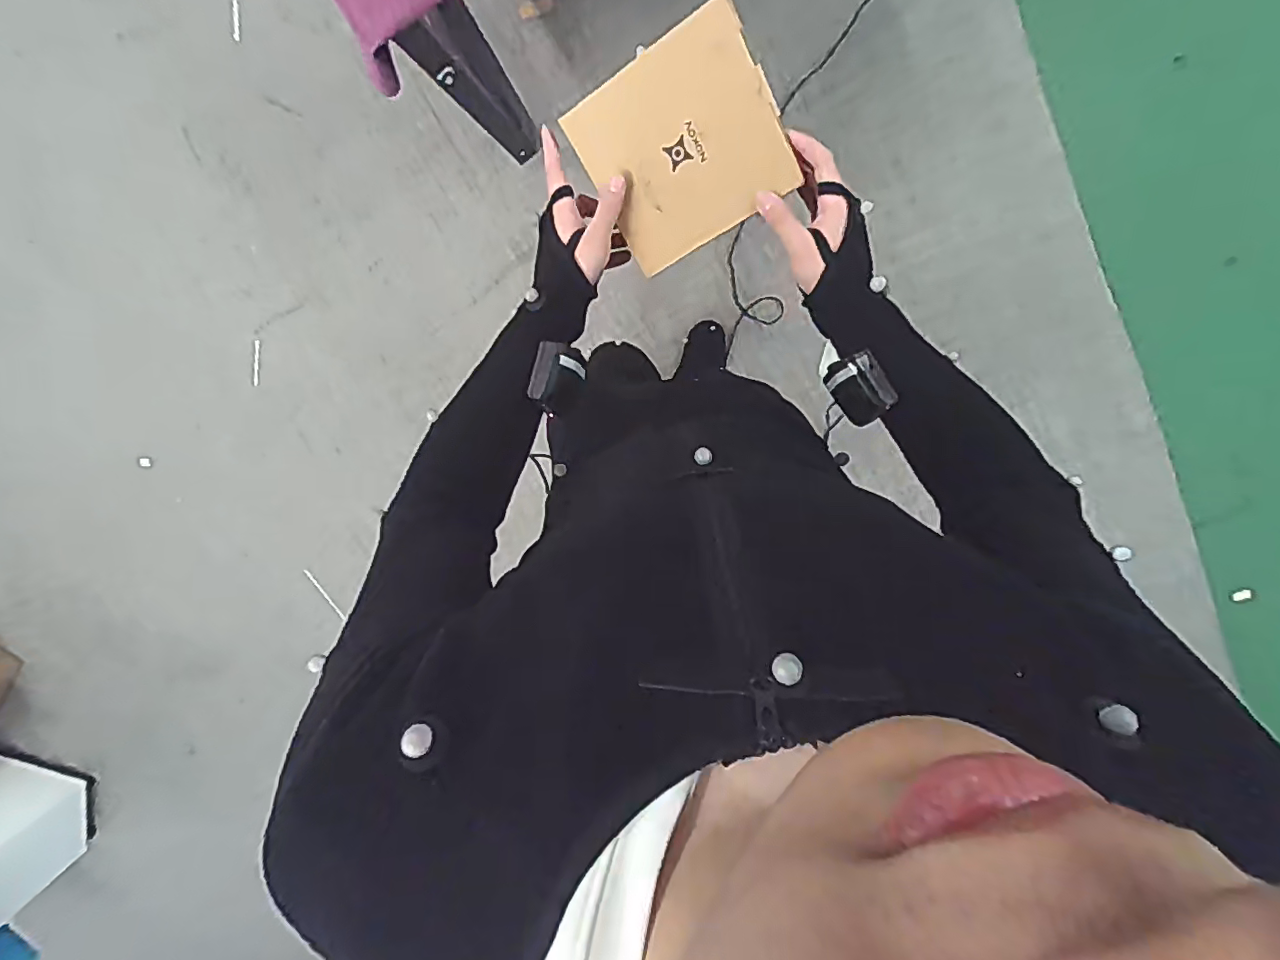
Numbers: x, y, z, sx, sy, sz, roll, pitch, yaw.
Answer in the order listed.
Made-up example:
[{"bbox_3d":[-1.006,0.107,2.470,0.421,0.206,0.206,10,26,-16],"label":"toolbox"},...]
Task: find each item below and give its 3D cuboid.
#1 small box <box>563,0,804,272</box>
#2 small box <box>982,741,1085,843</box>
[{"bbox_3d":[0.050,-0.349,0.569,0.179,0.176,0.168,-24,111,21],"label":"small box"},{"bbox_3d":[1.079,0.860,1.498,0.179,0.176,0.168,-16,105,11],"label":"small box"}]
